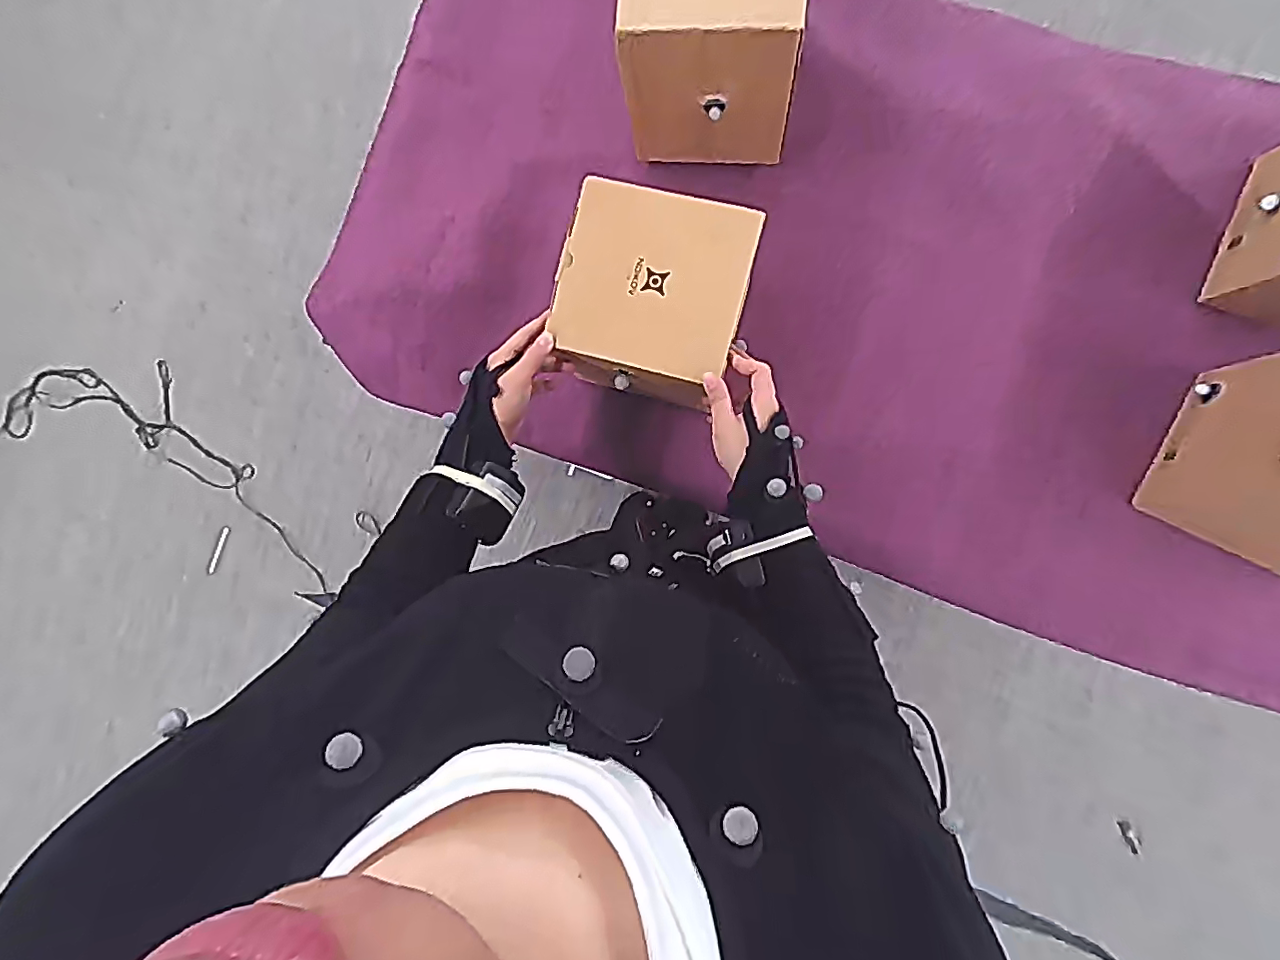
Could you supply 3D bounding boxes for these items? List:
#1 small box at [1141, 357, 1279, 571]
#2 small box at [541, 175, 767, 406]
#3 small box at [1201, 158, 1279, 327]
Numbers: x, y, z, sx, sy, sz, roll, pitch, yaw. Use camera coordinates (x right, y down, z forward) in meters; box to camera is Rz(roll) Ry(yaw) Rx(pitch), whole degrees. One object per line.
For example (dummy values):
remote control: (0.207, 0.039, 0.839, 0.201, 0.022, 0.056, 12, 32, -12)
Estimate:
small box: (0.637, -0.009, 0.498, 0.179, 0.176, 0.168, 27, 91, 6)
small box: (0.019, -0.183, 0.574, 0.179, 0.176, 0.168, 15, 91, 7)
small box: (0.702, -0.236, 0.493, 0.179, 0.176, 0.168, 21, 93, 6)
